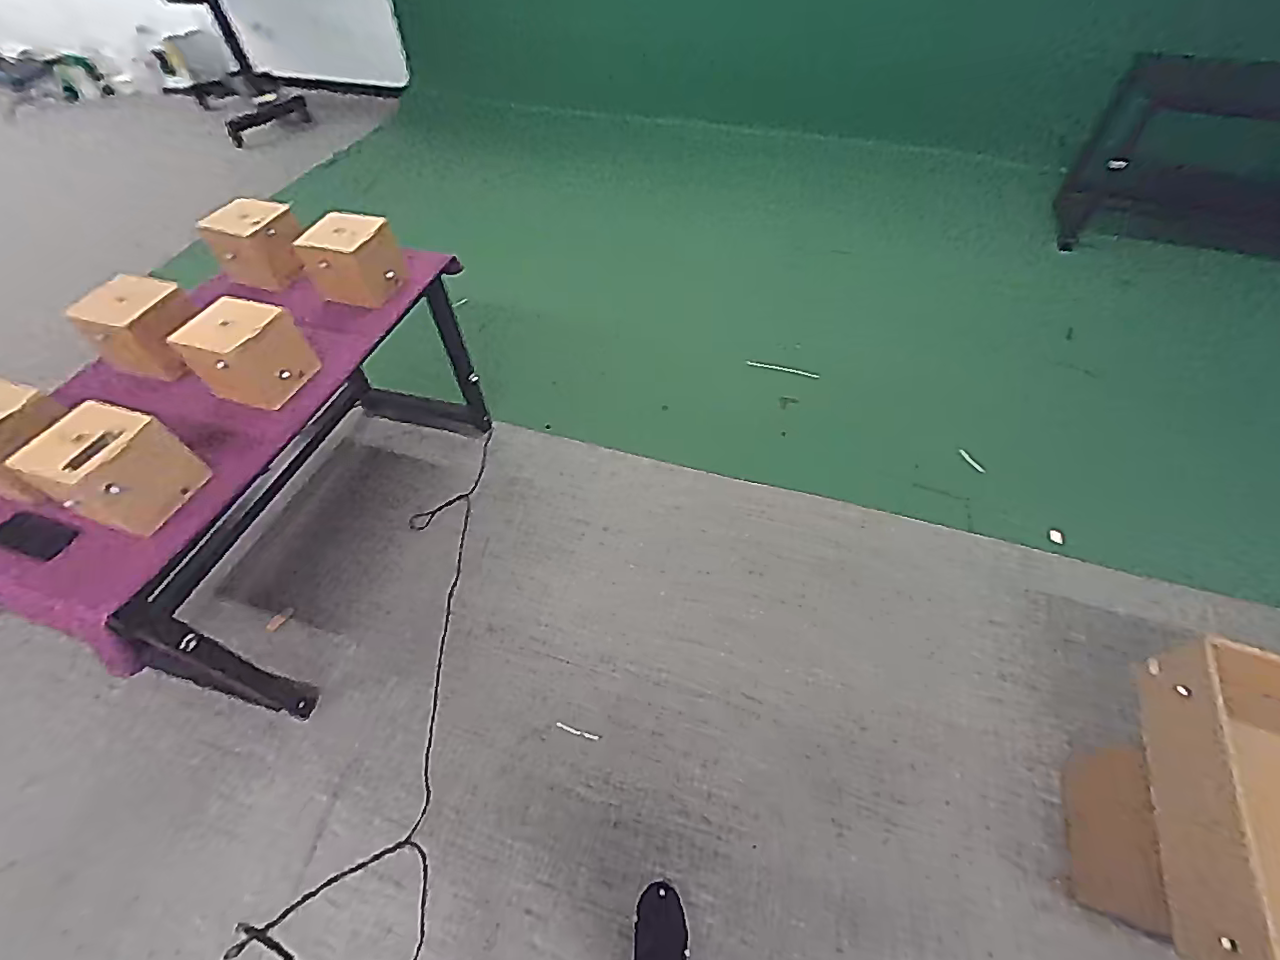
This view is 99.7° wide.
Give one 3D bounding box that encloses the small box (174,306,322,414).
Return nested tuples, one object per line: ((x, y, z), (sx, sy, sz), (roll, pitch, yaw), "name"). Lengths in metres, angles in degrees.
((-0.885, -0.272, 1.240), (0.179, 0.176, 0.168), (13, 54, 13), "small box")

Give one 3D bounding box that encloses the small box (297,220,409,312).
((-0.768, -0.577, 1.465), (0.179, 0.176, 0.168), (12, 55, 10), "small box")

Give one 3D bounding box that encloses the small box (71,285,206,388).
((-1.176, -0.343, 1.308), (0.179, 0.176, 0.168), (12, 55, 10), "small box")

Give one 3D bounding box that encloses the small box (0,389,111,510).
((-1.252, -0.060, 1.090), (0.179, 0.176, 0.168), (12, 53, 11), "small box")

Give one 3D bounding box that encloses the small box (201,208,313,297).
((-1.064, -0.642, 1.531), (0.179, 0.176, 0.168), (13, 55, 12), "small box")
